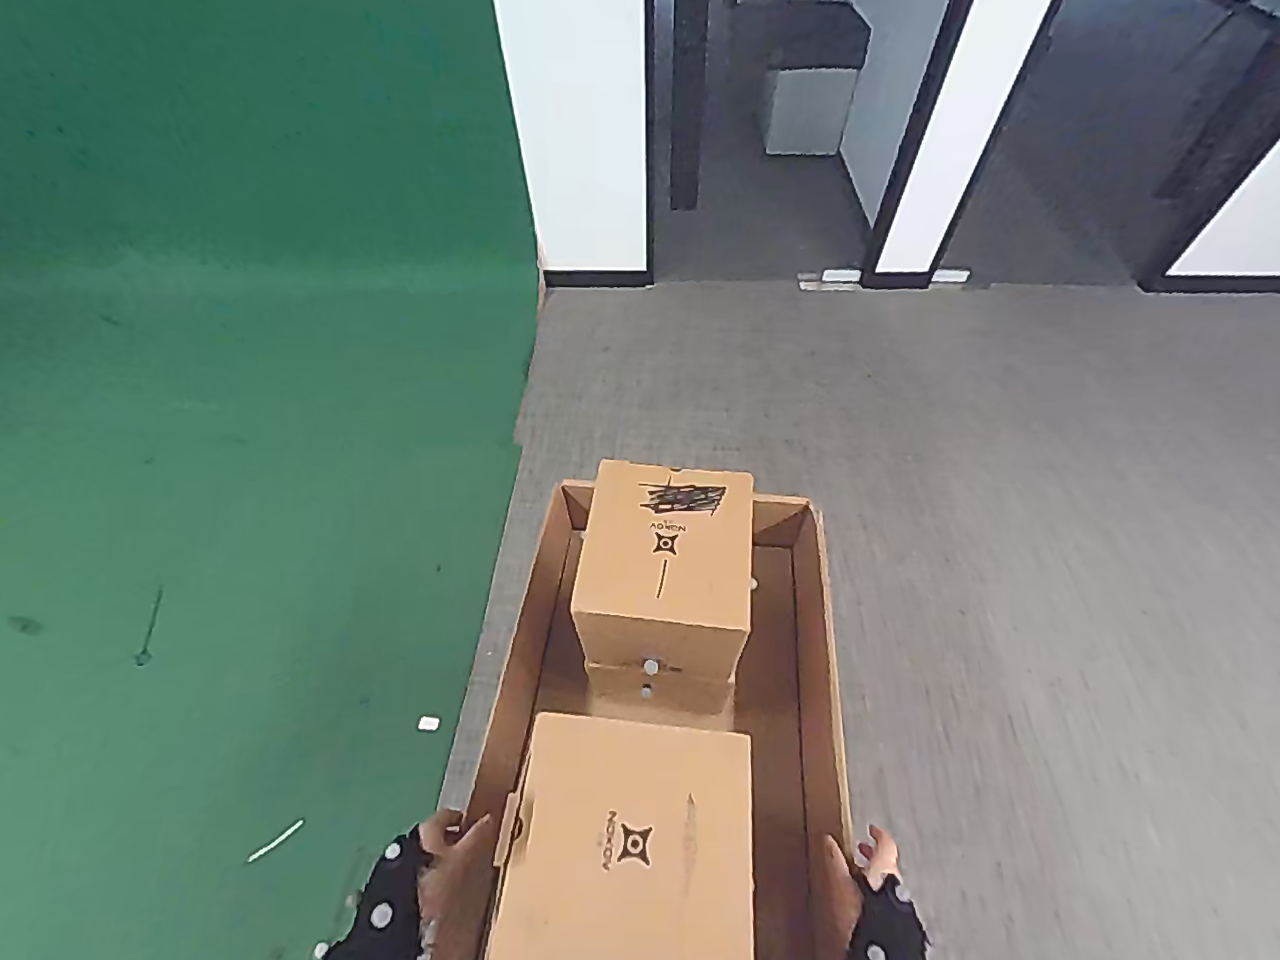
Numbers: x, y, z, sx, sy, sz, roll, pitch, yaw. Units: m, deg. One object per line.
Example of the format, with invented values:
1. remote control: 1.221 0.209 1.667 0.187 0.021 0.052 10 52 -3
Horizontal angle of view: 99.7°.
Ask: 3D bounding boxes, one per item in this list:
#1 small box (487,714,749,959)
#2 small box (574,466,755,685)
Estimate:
1. small box: -0.006 0.315 0.460 0.179 0.176 0.168 5 54 4
2. small box: 0.030 0.110 0.606 0.168 0.176 0.179 7 56 6
